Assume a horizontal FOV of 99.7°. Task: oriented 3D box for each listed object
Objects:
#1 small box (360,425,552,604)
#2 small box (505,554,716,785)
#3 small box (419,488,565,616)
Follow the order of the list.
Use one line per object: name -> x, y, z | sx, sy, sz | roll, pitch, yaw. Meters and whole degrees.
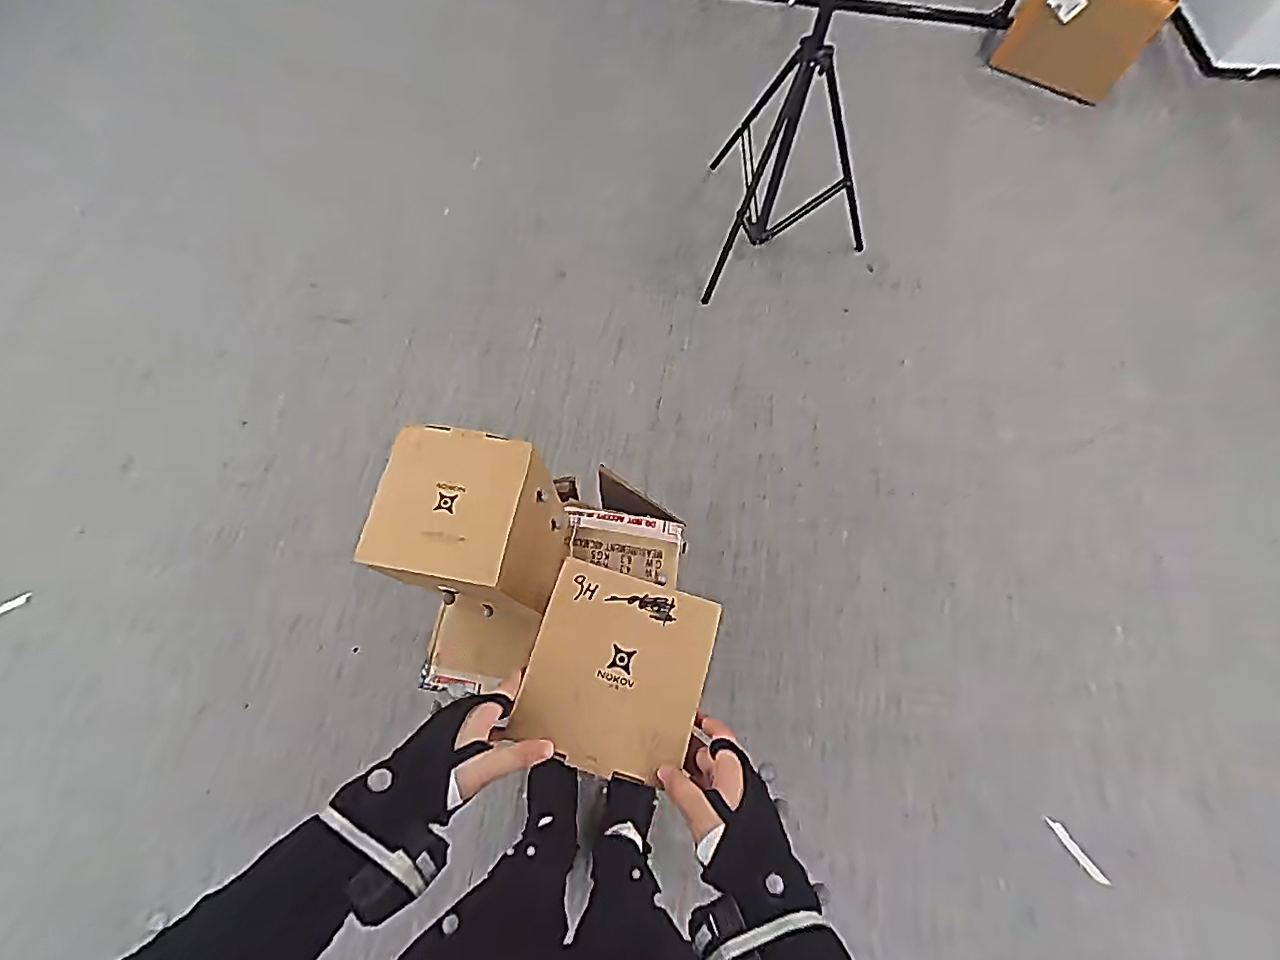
small box -> -0.217, 0.052, 0.698 | 0.168, 0.176, 0.179 | 9, 71, 4
small box -> -0.029, 0.202, 0.599 | 0.168, 0.176, 0.179 | 18, 72, 1
small box -> -0.220, 0.107, 0.851 | 0.168, 0.176, 0.179 | 9, 70, 3
